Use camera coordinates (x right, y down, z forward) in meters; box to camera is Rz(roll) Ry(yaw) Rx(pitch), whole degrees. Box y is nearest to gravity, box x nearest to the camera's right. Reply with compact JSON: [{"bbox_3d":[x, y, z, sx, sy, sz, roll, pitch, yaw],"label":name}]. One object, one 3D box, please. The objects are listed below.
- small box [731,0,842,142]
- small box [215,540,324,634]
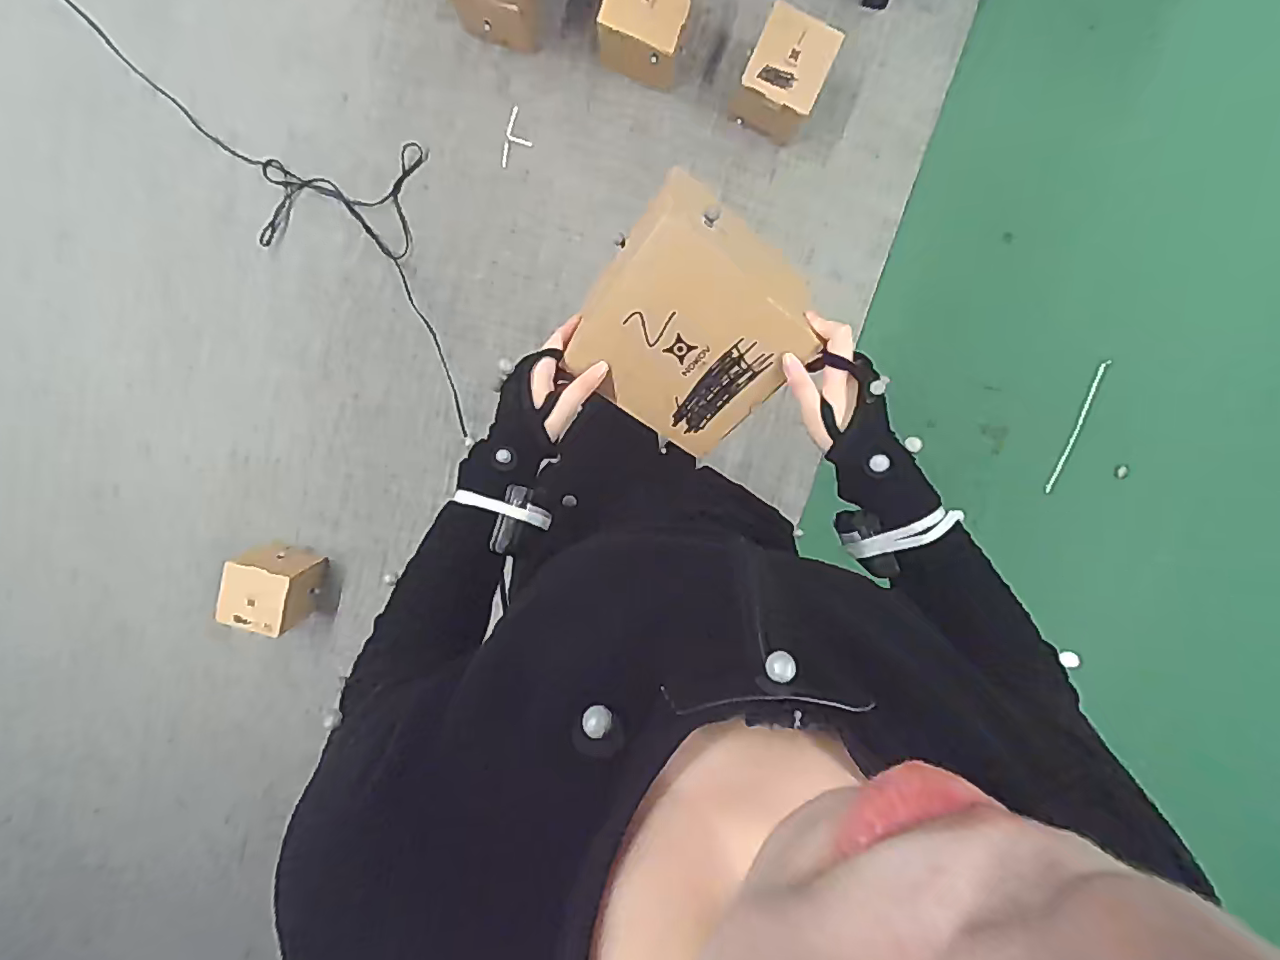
[{"bbox_3d":[0.320,-0.915,1.228,0.168,0.176,0.179,24,99,-5],"label":"small box"},{"bbox_3d":[-0.983,0.279,1.451,0.168,0.176,0.179,18,100,-3],"label":"small box"}]
